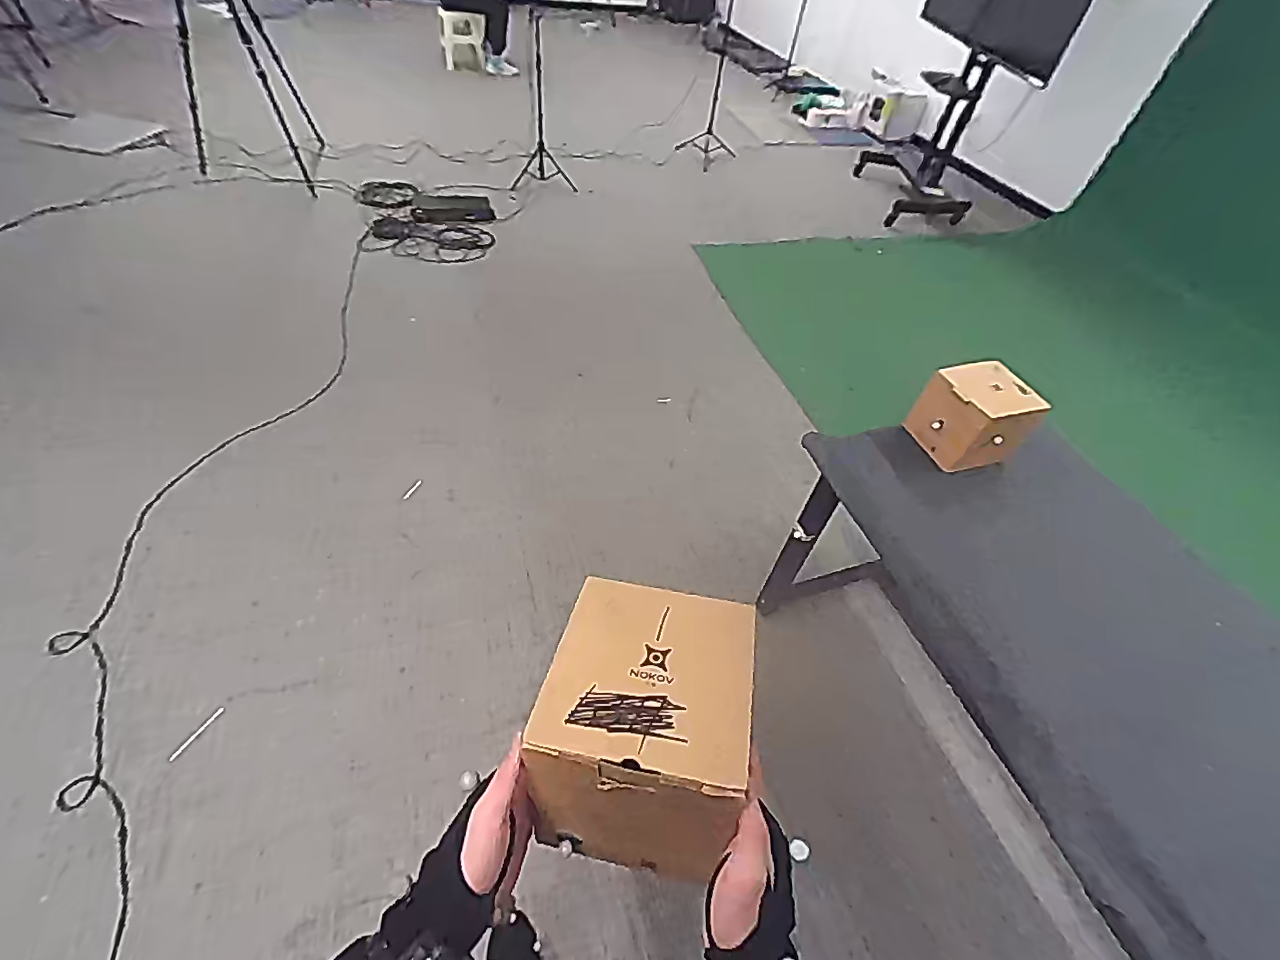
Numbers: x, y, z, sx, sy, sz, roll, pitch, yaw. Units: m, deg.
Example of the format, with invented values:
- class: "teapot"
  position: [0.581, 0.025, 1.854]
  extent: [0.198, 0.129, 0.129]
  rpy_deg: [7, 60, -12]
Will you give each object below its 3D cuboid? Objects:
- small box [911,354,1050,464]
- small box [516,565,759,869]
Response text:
- class: "small box"
  position: [0.741, -0.155, 1.207]
  extent: [0.179, 0.176, 0.168]
  rpy_deg: [-12, 54, -16]
- class: "small box"
  position: [0.008, 0.208, 0.484]
  extent: [0.168, 0.176, 0.179]
  rpy_deg: [9, 37, 10]
